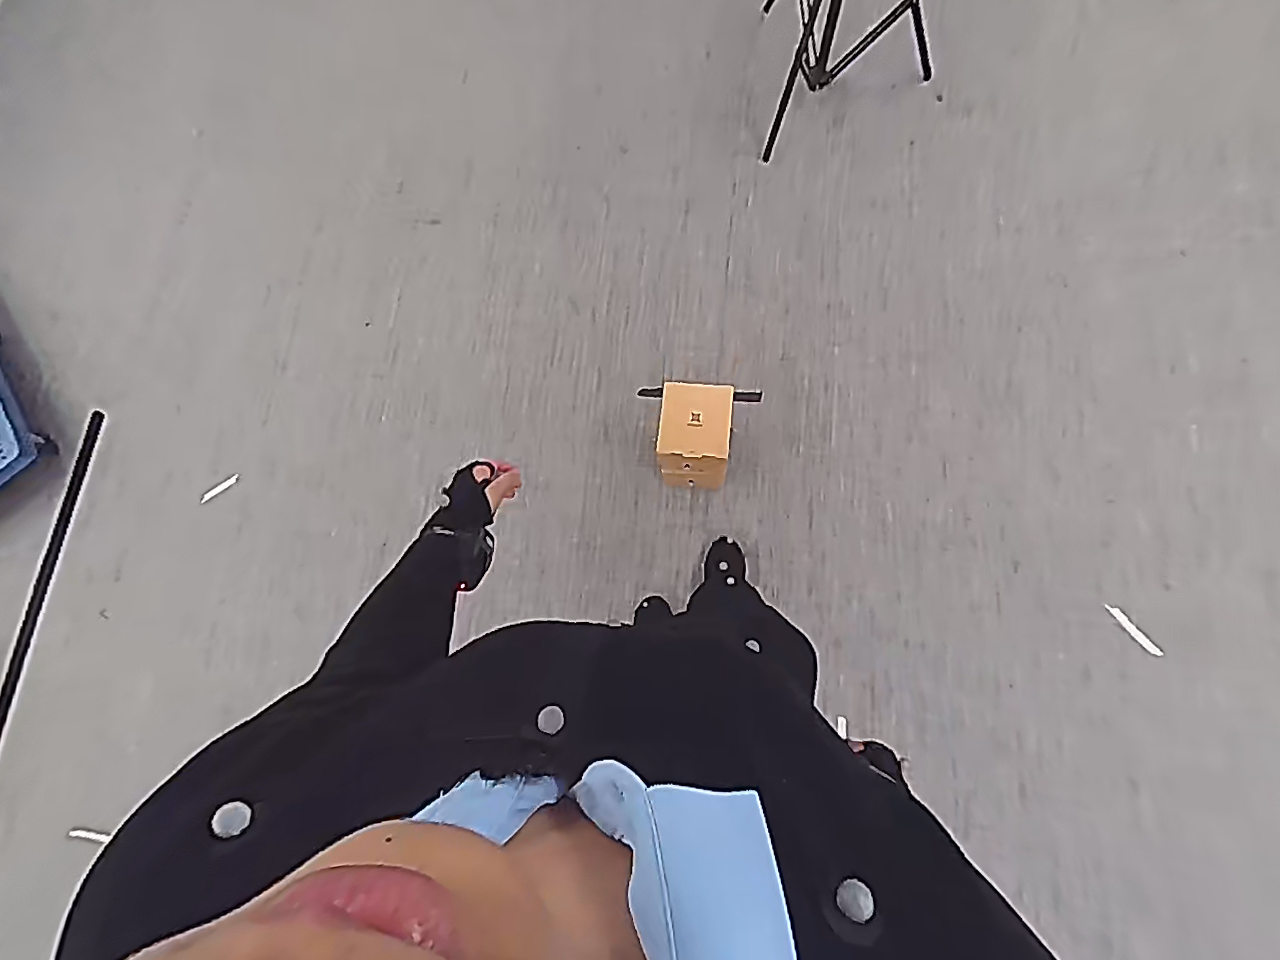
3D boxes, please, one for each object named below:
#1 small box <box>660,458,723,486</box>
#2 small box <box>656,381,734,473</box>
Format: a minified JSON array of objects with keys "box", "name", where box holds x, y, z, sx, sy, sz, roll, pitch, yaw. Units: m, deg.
[{"box":[0.147,-0.083,1.478,0.168,0.176,0.179,3,78,6],"name":"small box"},{"box":[0.135,-0.125,1.321,0.168,0.176,0.179,5,79,8],"name":"small box"}]
